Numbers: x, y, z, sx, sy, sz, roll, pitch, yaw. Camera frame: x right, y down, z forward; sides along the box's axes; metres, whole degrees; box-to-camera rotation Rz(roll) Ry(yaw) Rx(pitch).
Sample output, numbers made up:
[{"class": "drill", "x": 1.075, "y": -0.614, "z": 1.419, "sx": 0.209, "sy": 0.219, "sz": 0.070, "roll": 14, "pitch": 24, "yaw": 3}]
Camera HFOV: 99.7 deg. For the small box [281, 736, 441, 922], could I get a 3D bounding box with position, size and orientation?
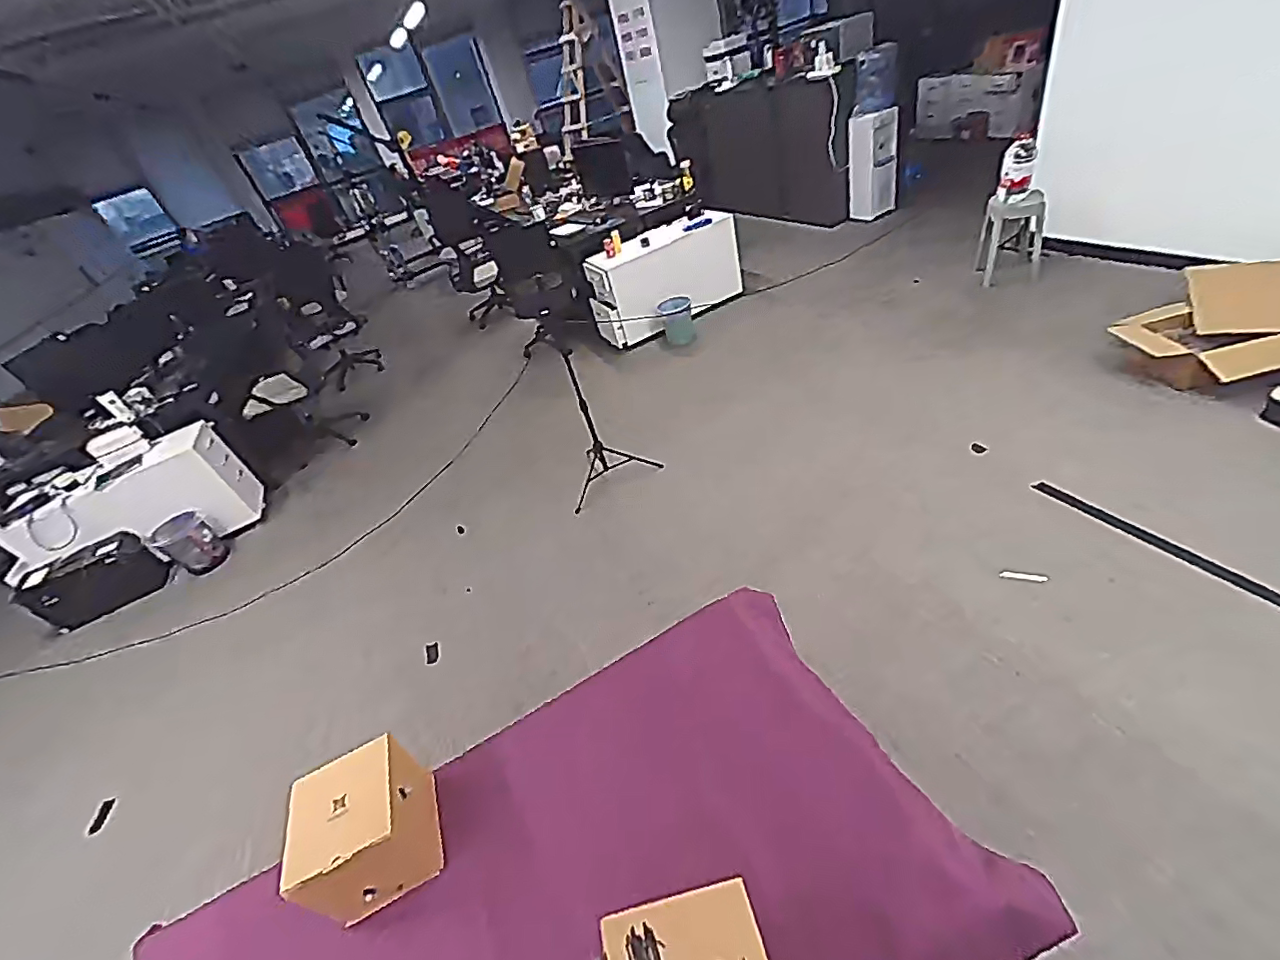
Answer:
[{"class": "small box", "x": -0.448, "y": 0.572, "z": 0.891, "sx": 0.168, "sy": 0.176, "sz": 0.179, "roll": -26, "pitch": 38, "yaw": -11}]
